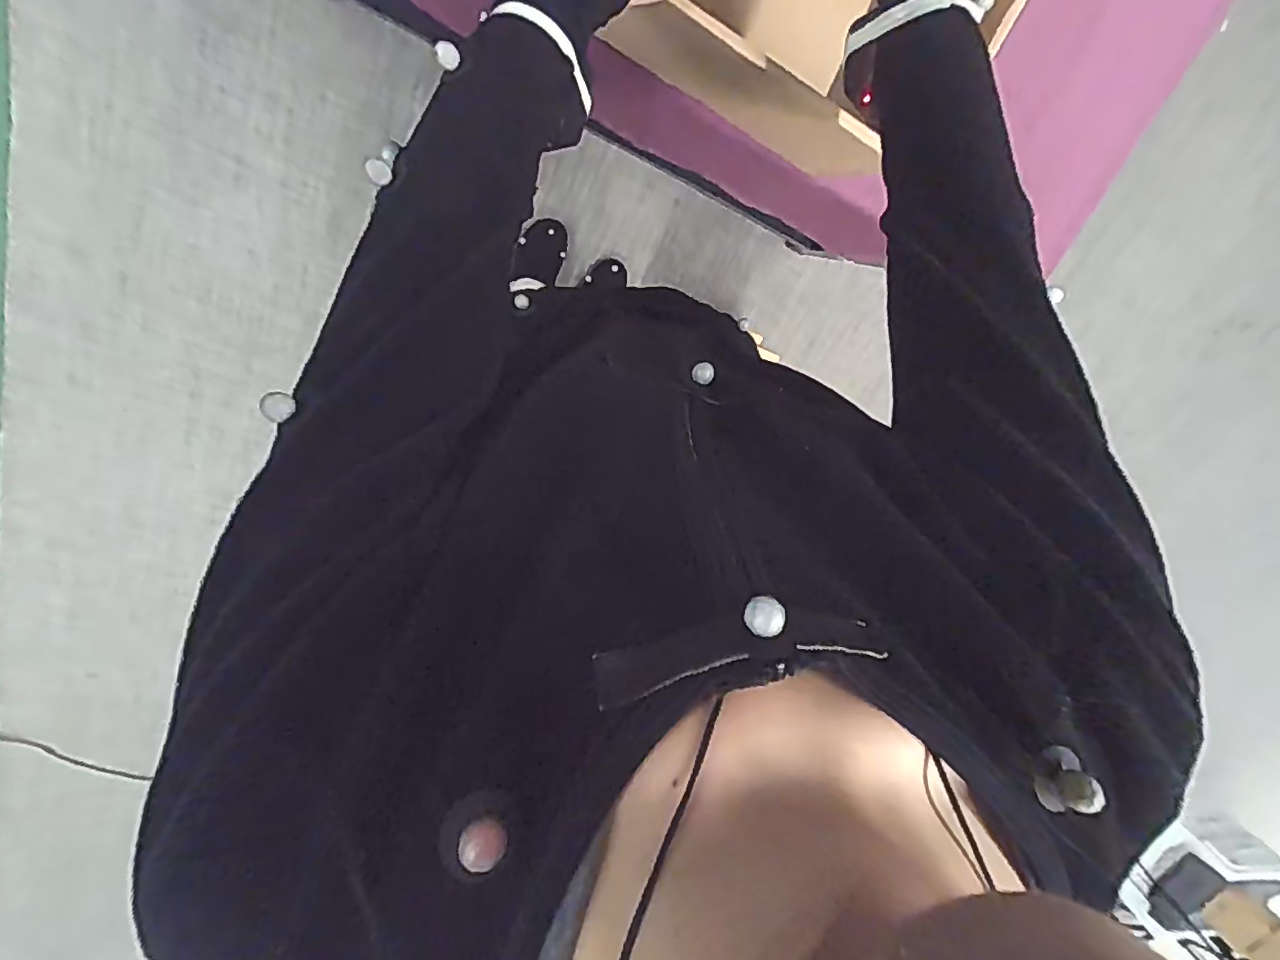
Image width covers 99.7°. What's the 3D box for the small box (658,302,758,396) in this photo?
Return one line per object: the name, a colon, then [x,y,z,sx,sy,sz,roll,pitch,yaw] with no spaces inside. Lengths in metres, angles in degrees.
small box: [0.166,-0.341,1.385,0.179,0.176,0.168,18,111,-18]
